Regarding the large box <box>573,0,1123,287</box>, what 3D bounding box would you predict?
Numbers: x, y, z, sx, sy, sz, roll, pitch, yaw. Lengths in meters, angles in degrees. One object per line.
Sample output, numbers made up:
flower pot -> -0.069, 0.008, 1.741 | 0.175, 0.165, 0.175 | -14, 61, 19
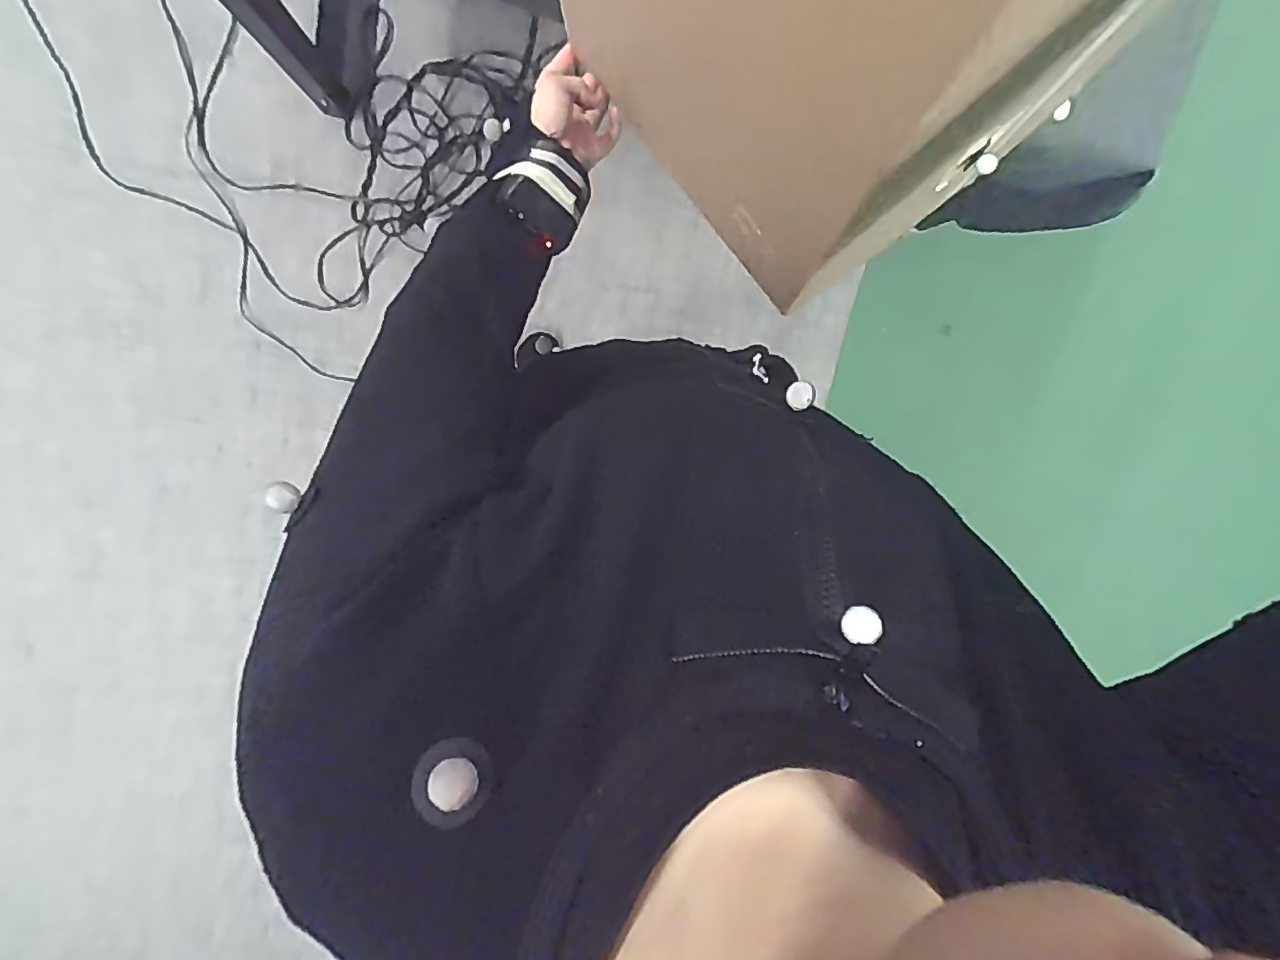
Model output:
large box -> 0.143, -0.375, 0.280 | 0.320, 0.408, 0.320 | -39, 90, 3
